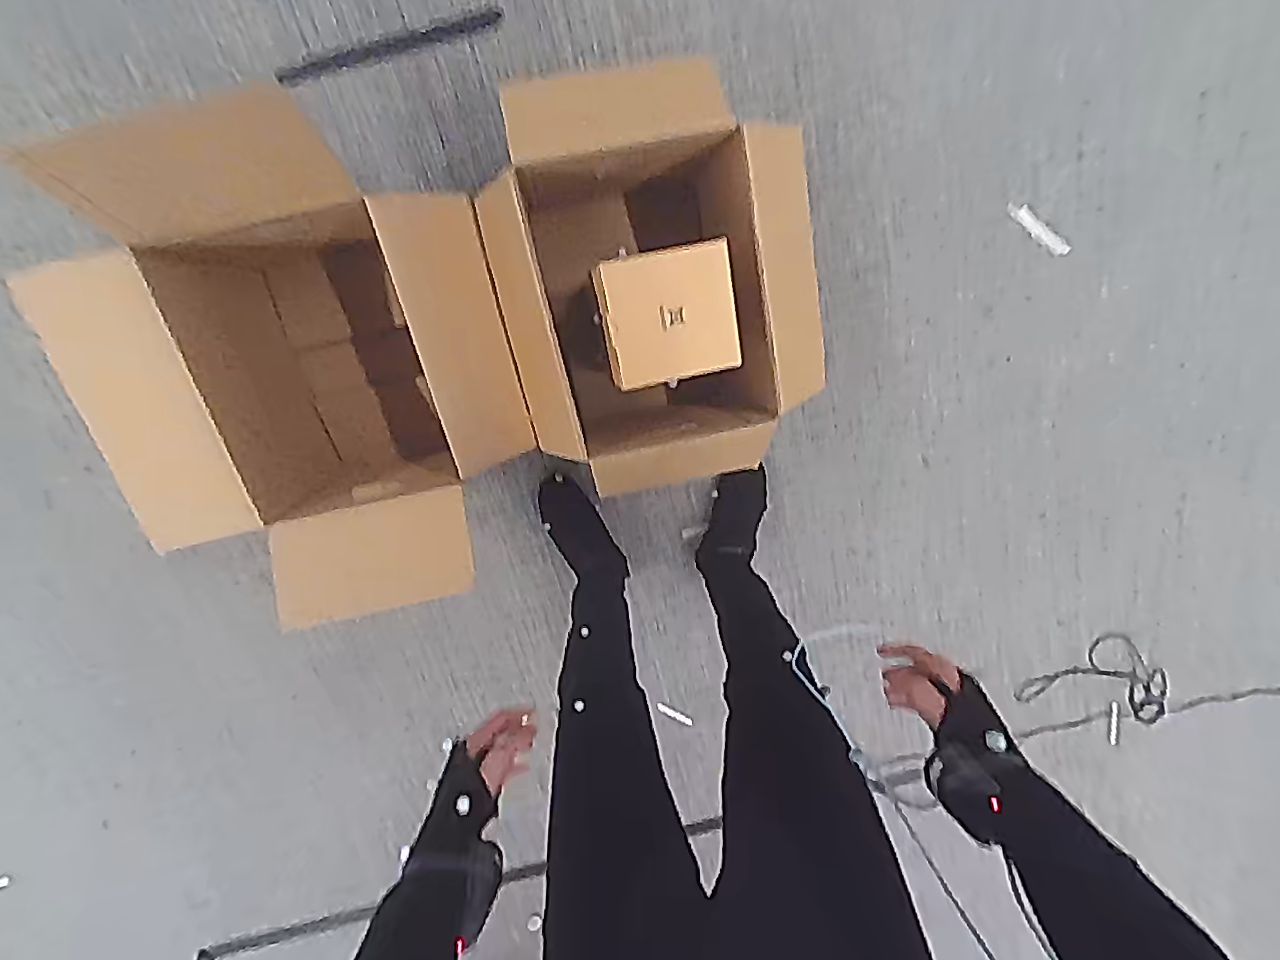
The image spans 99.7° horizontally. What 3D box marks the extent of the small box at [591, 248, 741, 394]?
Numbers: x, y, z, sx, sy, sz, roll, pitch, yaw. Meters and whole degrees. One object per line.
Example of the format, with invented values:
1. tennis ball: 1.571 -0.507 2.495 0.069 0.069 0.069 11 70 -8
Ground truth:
1. small box: 0.032 -0.237 0.797 0.179 0.176 0.168 -13 110 -4
